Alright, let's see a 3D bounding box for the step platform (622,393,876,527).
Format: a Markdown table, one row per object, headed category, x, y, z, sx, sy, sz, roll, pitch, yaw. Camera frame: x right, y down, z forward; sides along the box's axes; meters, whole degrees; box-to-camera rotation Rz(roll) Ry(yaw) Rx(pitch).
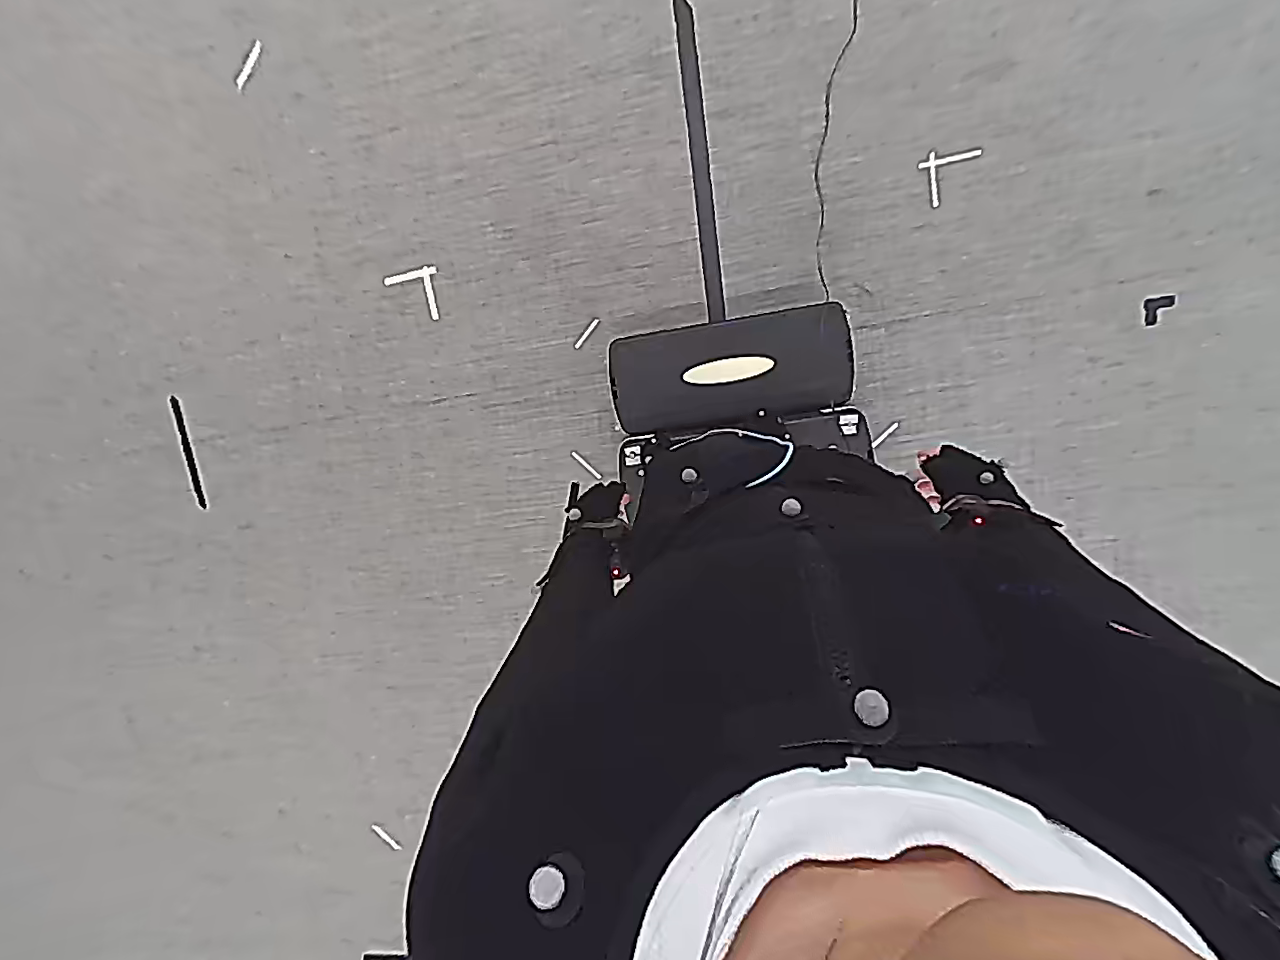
| category | x | y | z | sx | sy | sz | roll | pitch | yaw |
| --- | --- | --- | --- | --- | --- | --- | --- | --- | --- |
| step platform | 0.291 | -0.052 | 1.519 | 0.684 | 0.204 | 0.286 | -8 | 96 | 10 |
